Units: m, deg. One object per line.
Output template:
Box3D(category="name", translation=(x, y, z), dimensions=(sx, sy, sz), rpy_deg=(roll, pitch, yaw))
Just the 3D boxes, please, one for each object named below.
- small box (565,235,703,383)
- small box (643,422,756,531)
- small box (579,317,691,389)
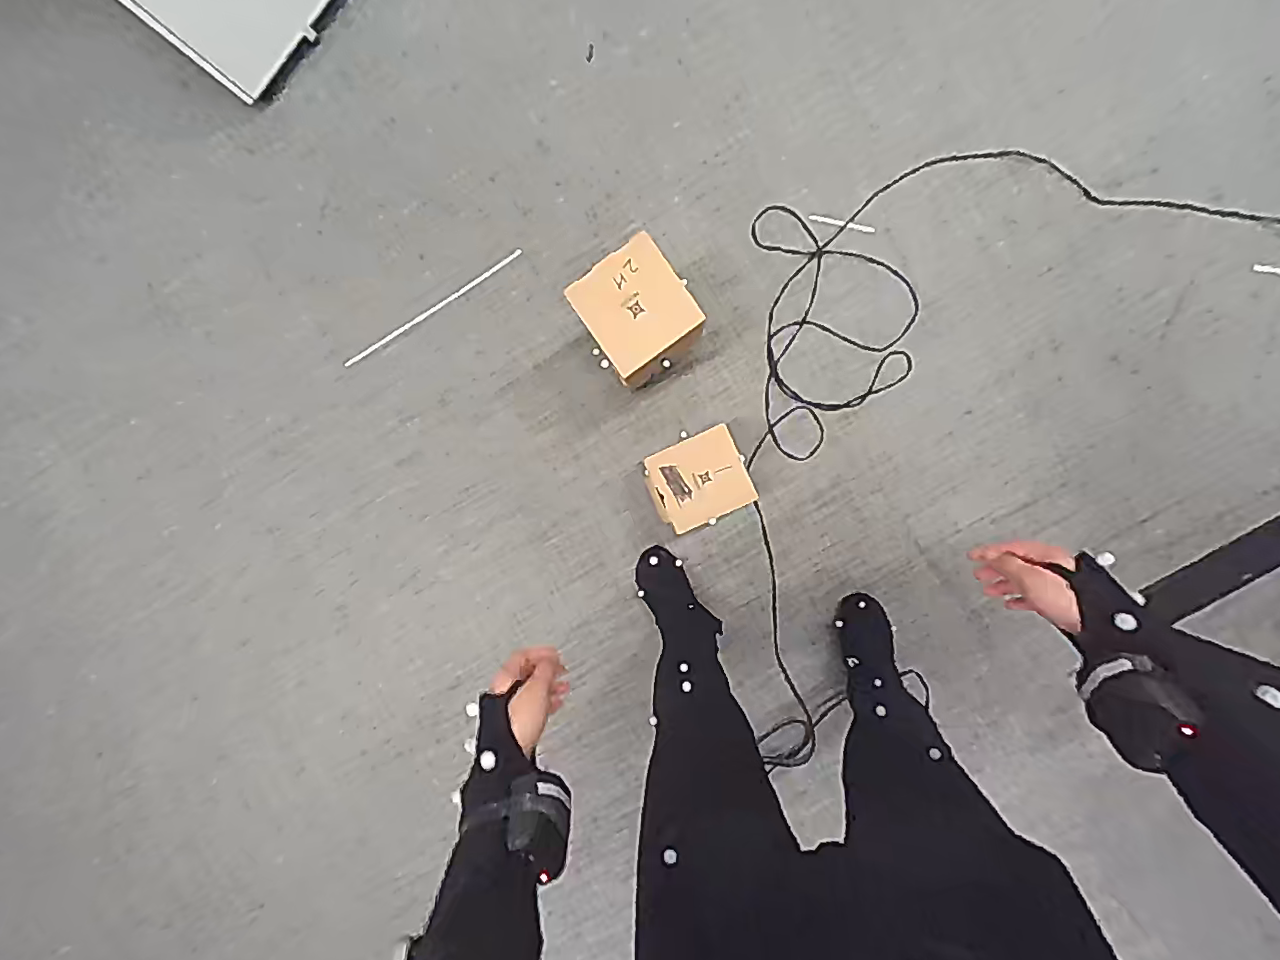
Box3D(category="small box", translation=(-0.004, -0.286, 0.953), dimensions=(0.168, 0.176, 0.179), rpy_deg=(-35, 91, 5))
Box3D(category="small box", translation=(0.122, -0.009, 1.129), dimensions=(0.179, 0.176, 0.168), rpy_deg=(-25, 92, 4))
Box3D(category="small box", translation=(-0.002, -0.301, 1.118), dimensions=(0.168, 0.176, 0.179), rpy_deg=(-34, 91, 5))
